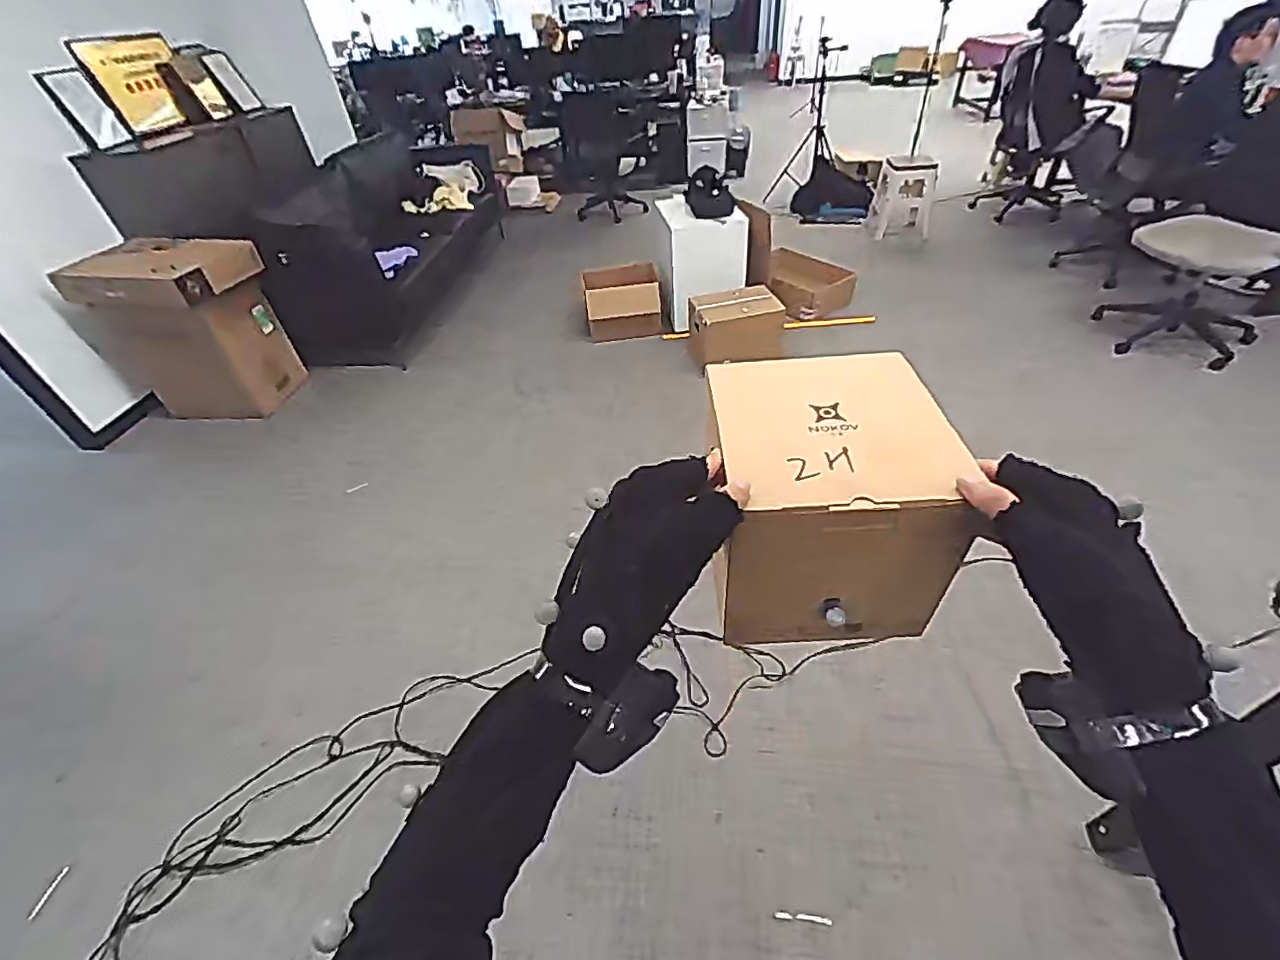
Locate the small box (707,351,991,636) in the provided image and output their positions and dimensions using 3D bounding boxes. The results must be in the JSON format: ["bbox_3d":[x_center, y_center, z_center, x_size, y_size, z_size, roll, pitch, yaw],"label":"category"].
[{"bbox_3d":[0.147,0.011,0.460,0.168,0.176,0.179,-3,44,3],"label":"small box"}]
